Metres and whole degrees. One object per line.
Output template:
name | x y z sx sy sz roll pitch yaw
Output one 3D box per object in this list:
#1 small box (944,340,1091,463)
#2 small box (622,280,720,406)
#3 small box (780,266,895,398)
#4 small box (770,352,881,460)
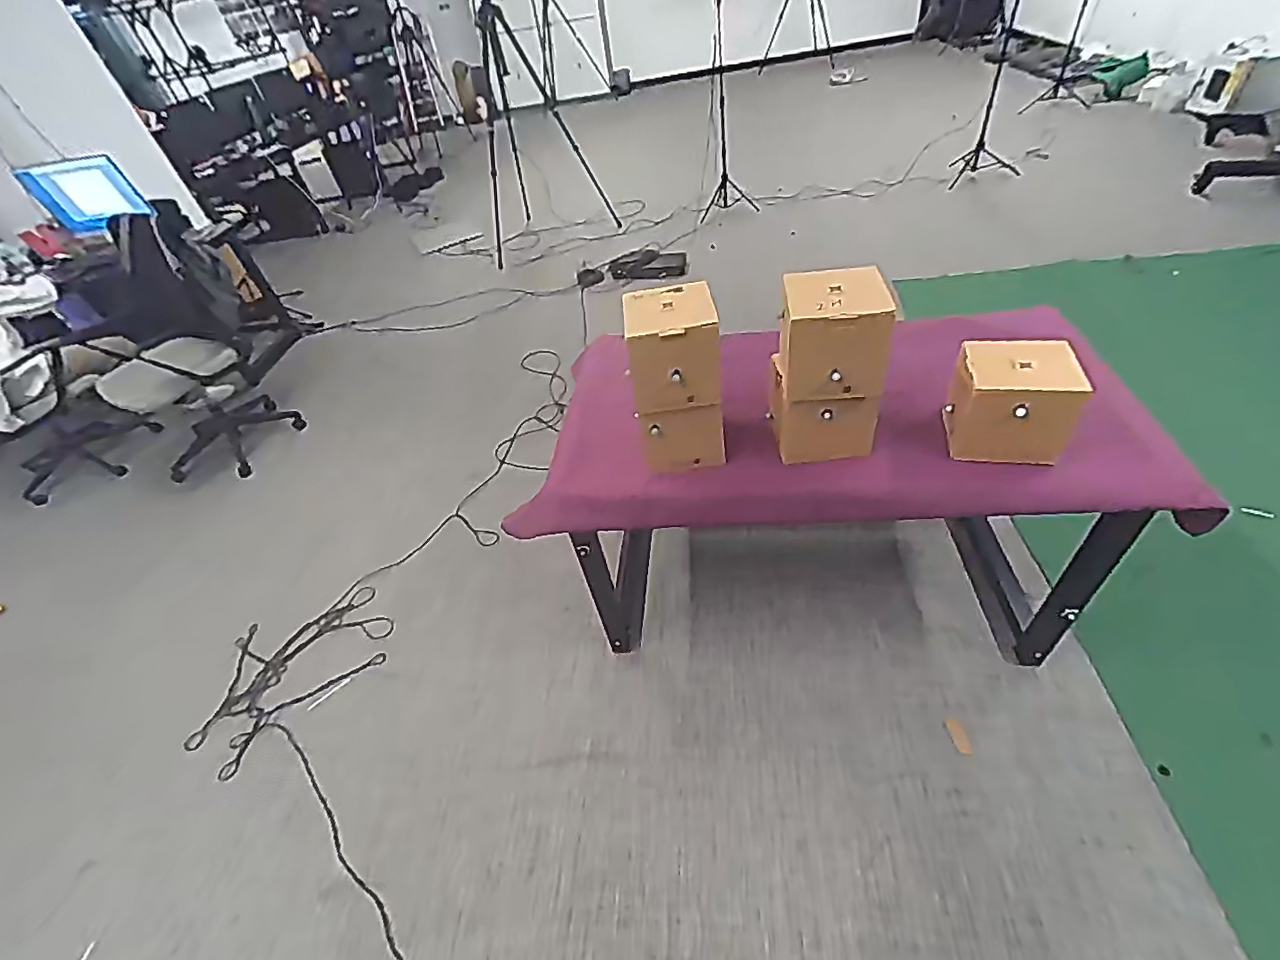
small box | 0.698 -0.147 1.024 0.179 0.176 0.168 4 45 18
small box | 0.060 -0.254 1.032 0.168 0.176 0.179 -7 44 4
small box | 0.346 -0.268 0.986 0.168 0.176 0.179 -2 45 11
small box | 0.367 -0.156 1.105 0.179 0.176 0.168 -6 44 5
